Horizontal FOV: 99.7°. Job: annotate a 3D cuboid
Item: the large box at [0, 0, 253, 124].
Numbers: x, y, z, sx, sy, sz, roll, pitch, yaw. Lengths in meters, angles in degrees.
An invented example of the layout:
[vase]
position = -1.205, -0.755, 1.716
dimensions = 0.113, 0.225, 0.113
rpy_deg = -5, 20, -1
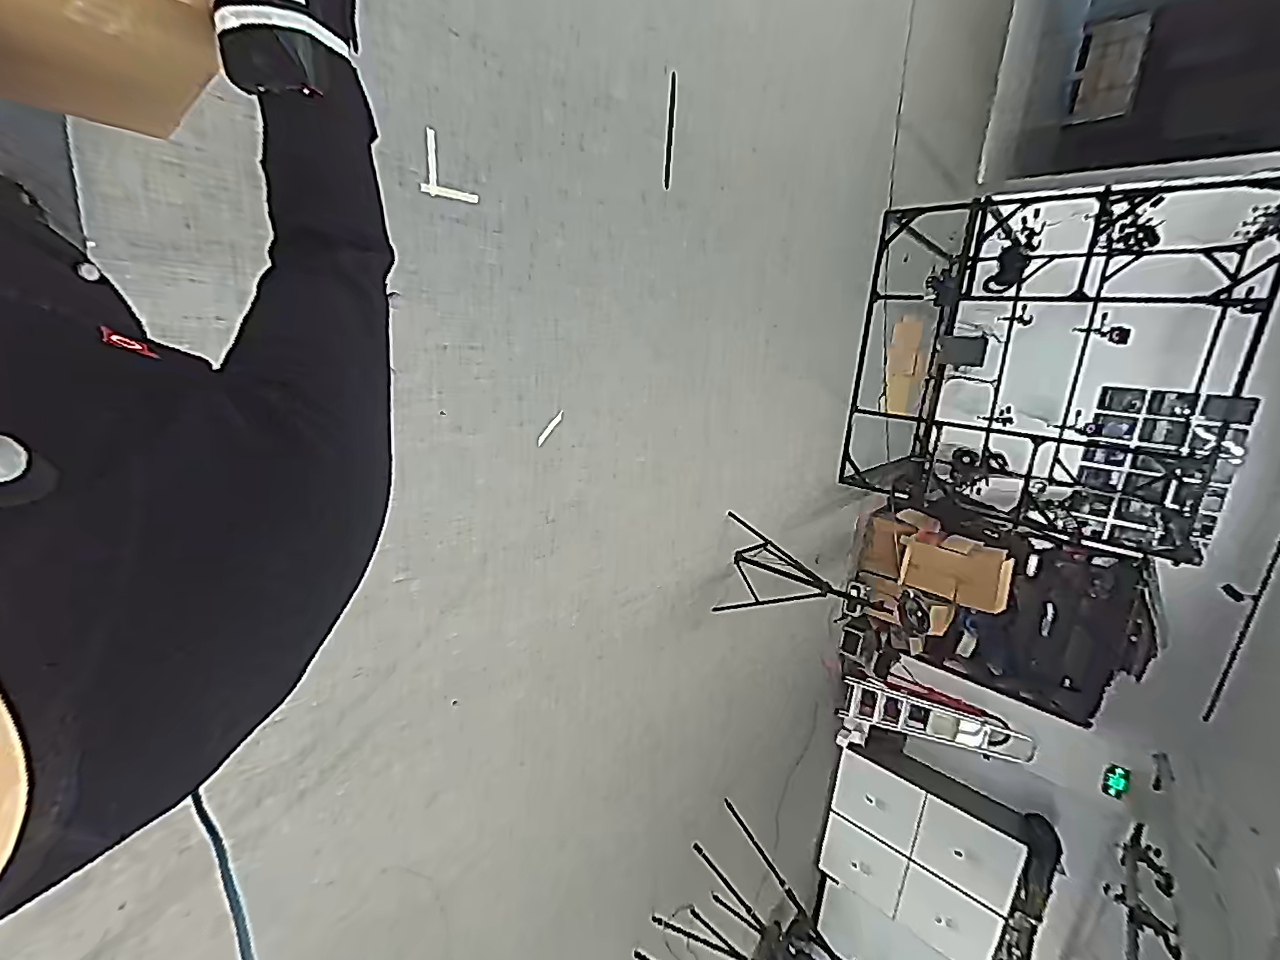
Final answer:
[large box]
position = -0.511, -0.469, 0.299
dimensions = 0.408, 0.320, 0.320
rpy_deg = -11, 108, -48
